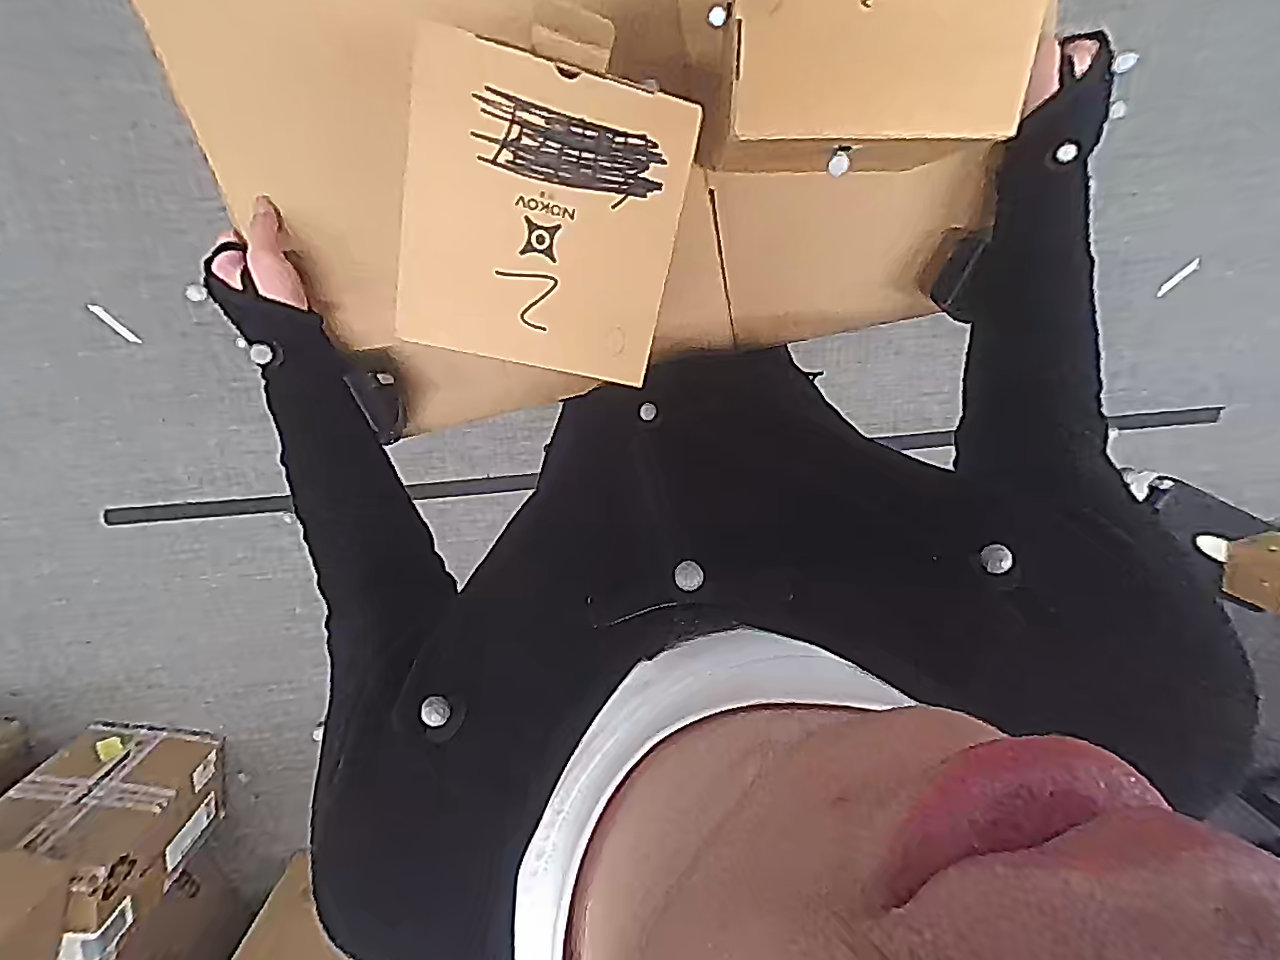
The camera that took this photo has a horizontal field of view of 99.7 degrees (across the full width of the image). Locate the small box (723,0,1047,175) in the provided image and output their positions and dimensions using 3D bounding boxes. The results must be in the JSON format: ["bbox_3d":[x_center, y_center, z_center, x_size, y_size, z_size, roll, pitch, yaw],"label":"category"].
[{"bbox_3d":[0.160,-0.326,0.393,0.179,0.176,0.168,3,114,4],"label":"small box"}]
